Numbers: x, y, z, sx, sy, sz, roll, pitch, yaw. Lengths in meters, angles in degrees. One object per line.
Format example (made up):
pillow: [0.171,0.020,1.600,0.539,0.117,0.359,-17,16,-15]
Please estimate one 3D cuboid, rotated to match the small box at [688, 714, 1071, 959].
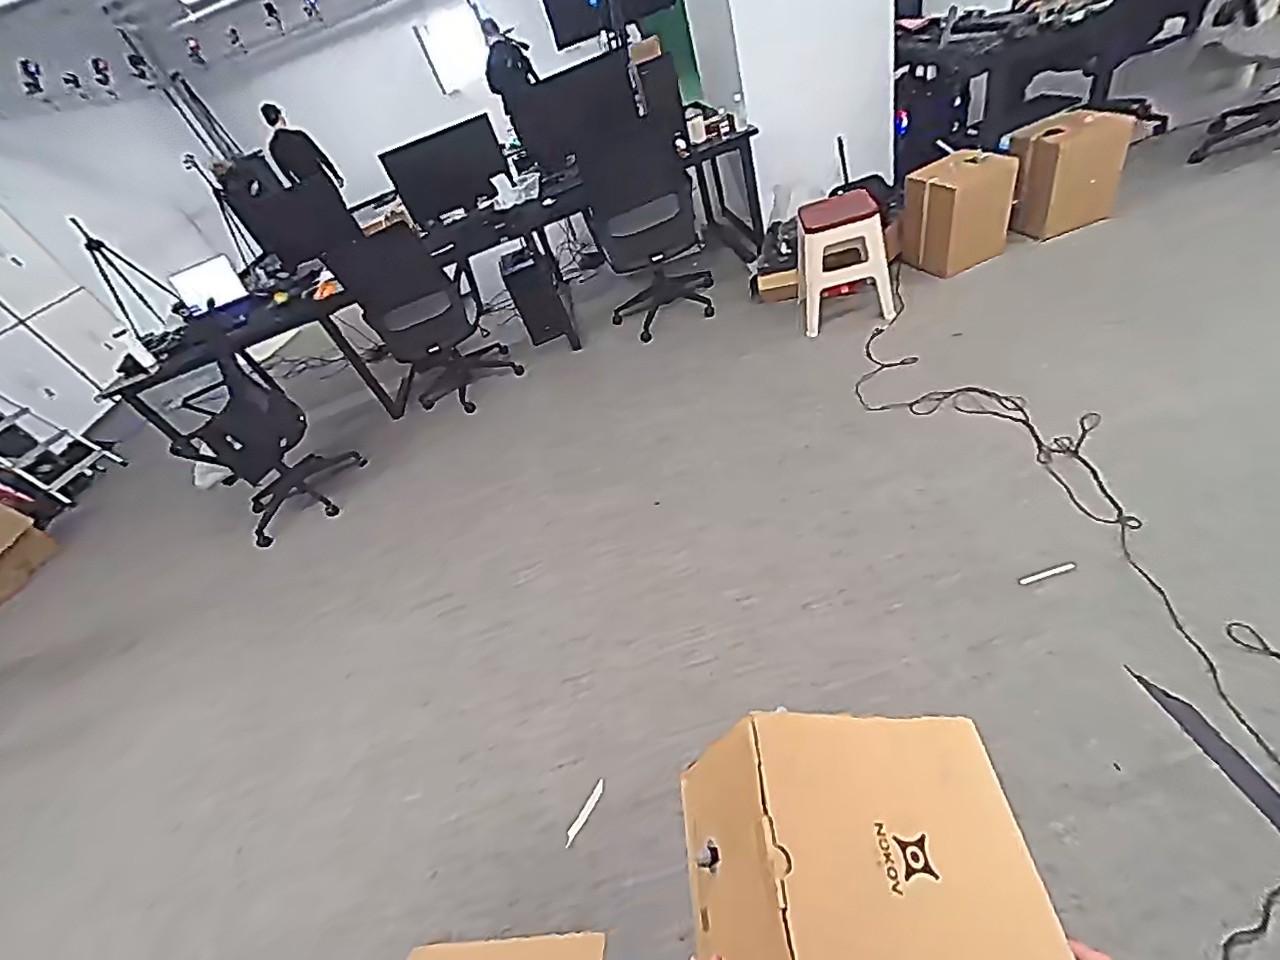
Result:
small box: [0.147,0.281,0.388,0.179,0.176,0.168,6,48,-11]
